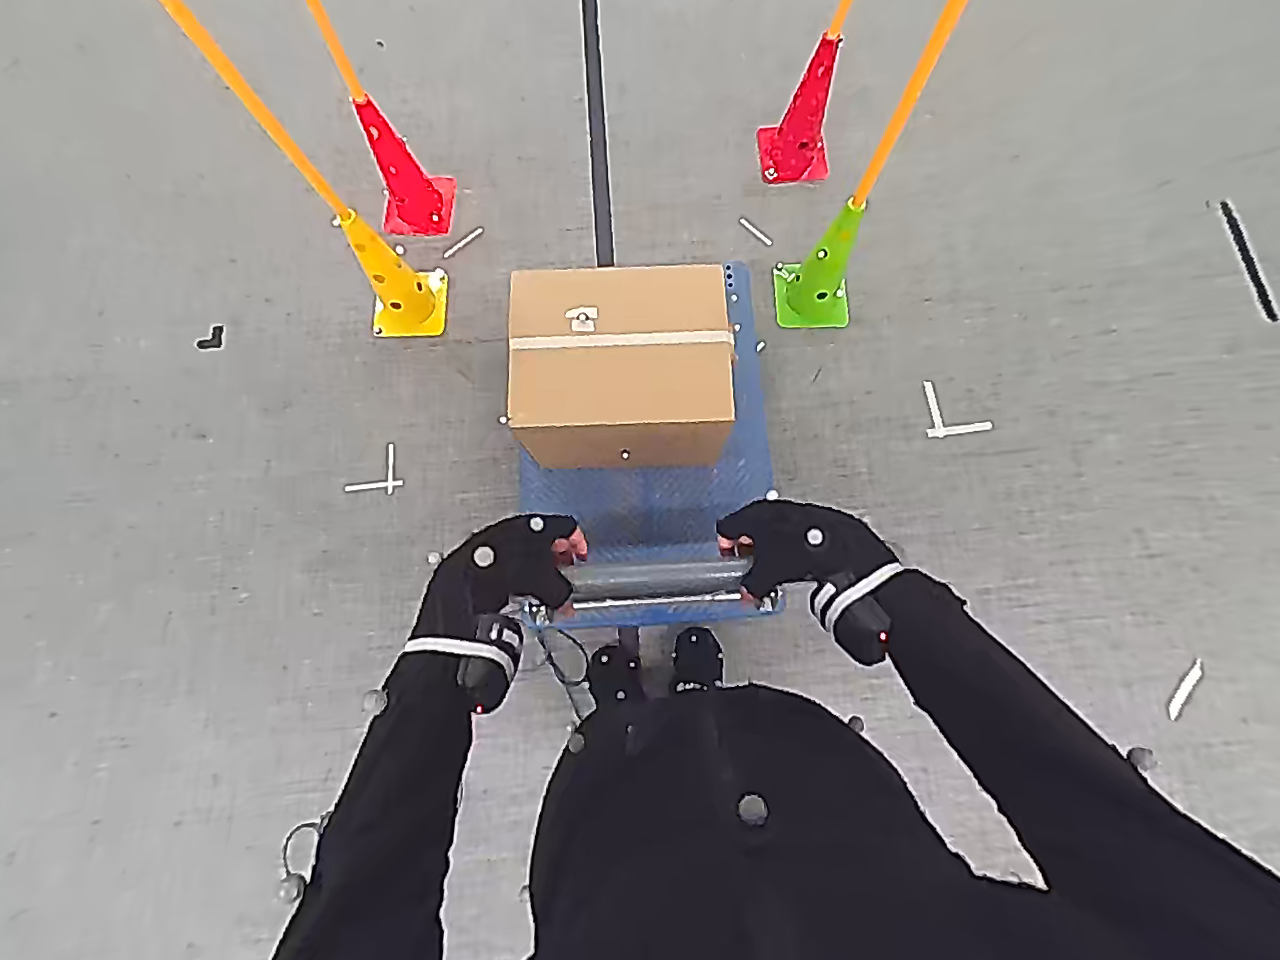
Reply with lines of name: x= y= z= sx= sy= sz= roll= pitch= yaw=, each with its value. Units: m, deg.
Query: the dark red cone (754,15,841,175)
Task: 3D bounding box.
dark red cone: x=0.454 y=-1.038 z=1.467 sx=0.201 sy=0.394 sz=0.202 roll=-5 pitch=77 yaw=-2

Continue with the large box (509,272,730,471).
large box: x=-0.039 y=-0.206 z=1.144 sx=0.408 sy=0.320 sz=0.320 roll=-2 pitch=77 yaw=1

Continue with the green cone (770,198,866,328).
green cone: x=0.476 y=-0.563 z=1.370 sx=0.202 sy=0.368 sz=0.200 roll=-1 pitch=76 yaw=-1

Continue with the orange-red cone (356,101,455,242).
orange-red cone: x=-0.664 y=-0.849 z=1.461 sx=0.198 sy=0.360 sz=0.199 roll=3 pitch=75 yaw=1
